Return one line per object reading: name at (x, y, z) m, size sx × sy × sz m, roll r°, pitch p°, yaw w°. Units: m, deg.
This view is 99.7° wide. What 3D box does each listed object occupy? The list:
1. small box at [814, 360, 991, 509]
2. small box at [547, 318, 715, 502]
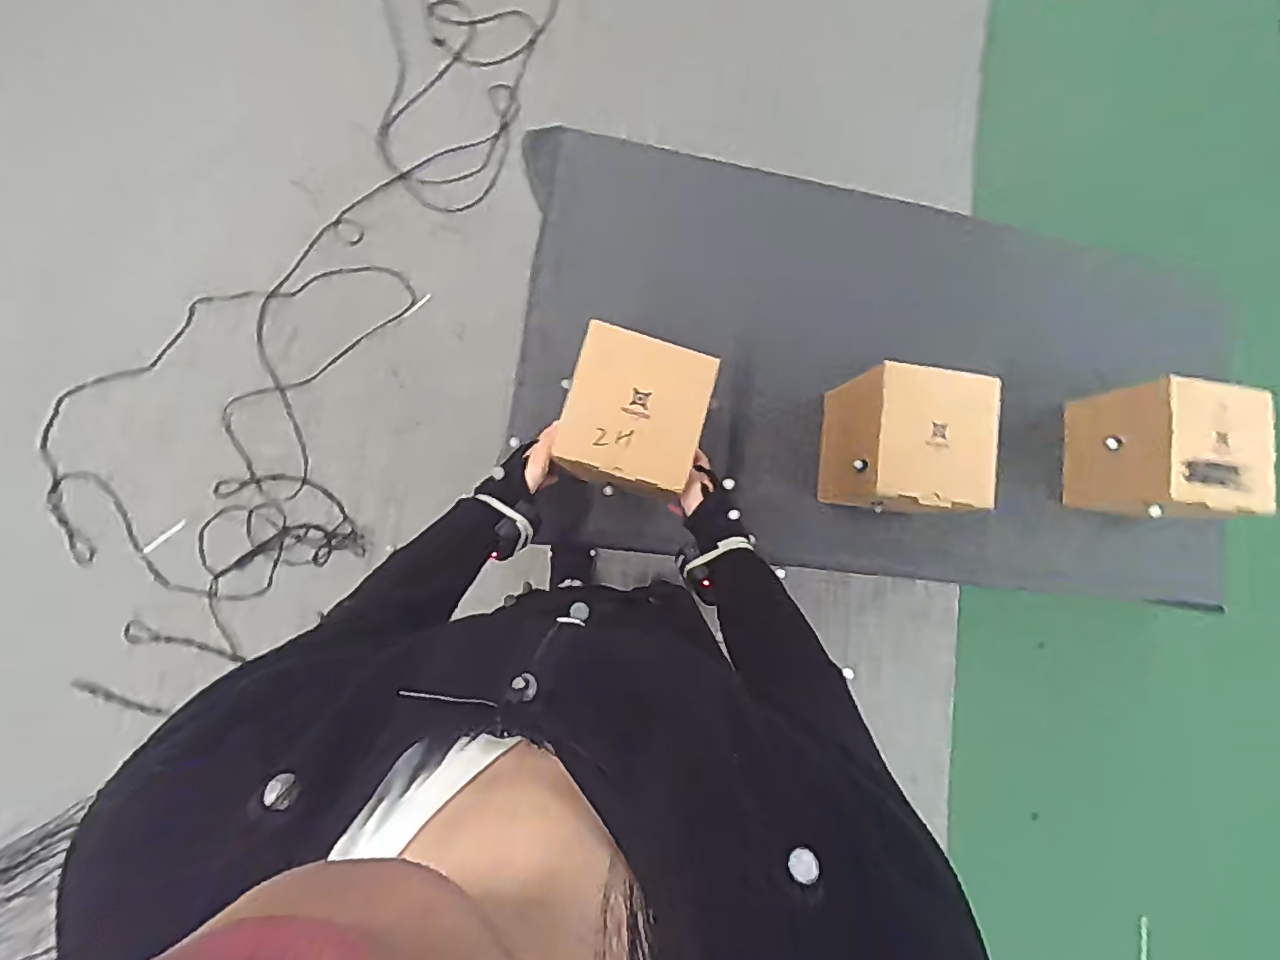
small box at (0.367, -0.054, 0.779) m, size 0.168 × 0.176 × 0.179 m, roll 6°, pitch 85°, yaw -8°
small box at (-0.019, -0.081, 0.720) m, size 0.168 × 0.176 × 0.179 m, roll 17°, pitch 81°, yaw -4°
